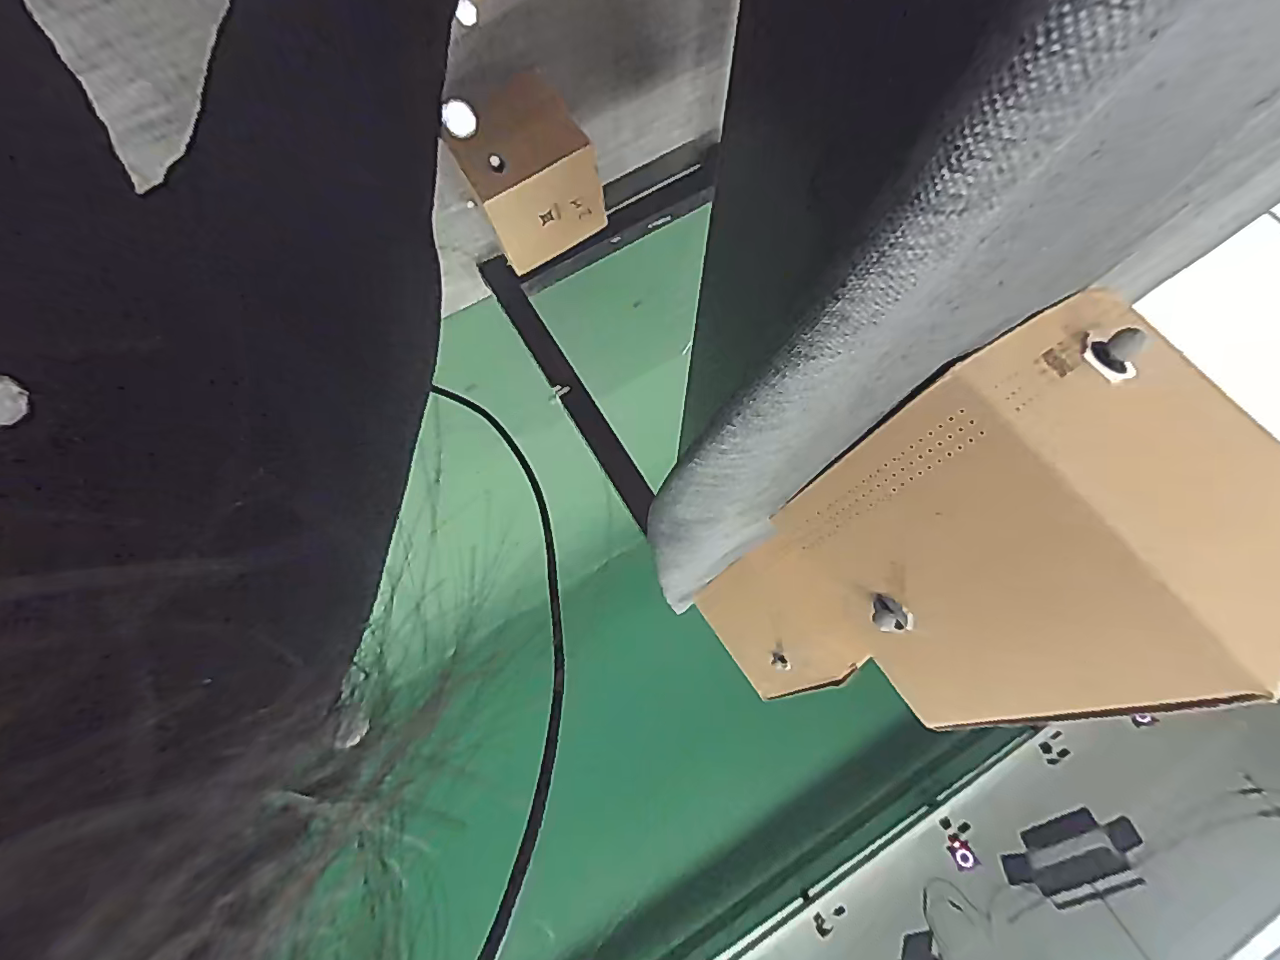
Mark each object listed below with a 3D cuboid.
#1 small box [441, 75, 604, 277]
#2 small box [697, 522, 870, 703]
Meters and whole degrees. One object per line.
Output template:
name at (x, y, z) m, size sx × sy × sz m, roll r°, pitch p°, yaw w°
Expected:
small box at (-0.180, -0.459, 0.829) m, size 0.179 × 0.176 × 0.168 m, roll -32°, pitch 166°, yaw -3°
small box at (0.200, 0.154, 0.695) m, size 0.168 × 0.176 × 0.179 m, roll -27°, pitch 163°, yaw -29°
